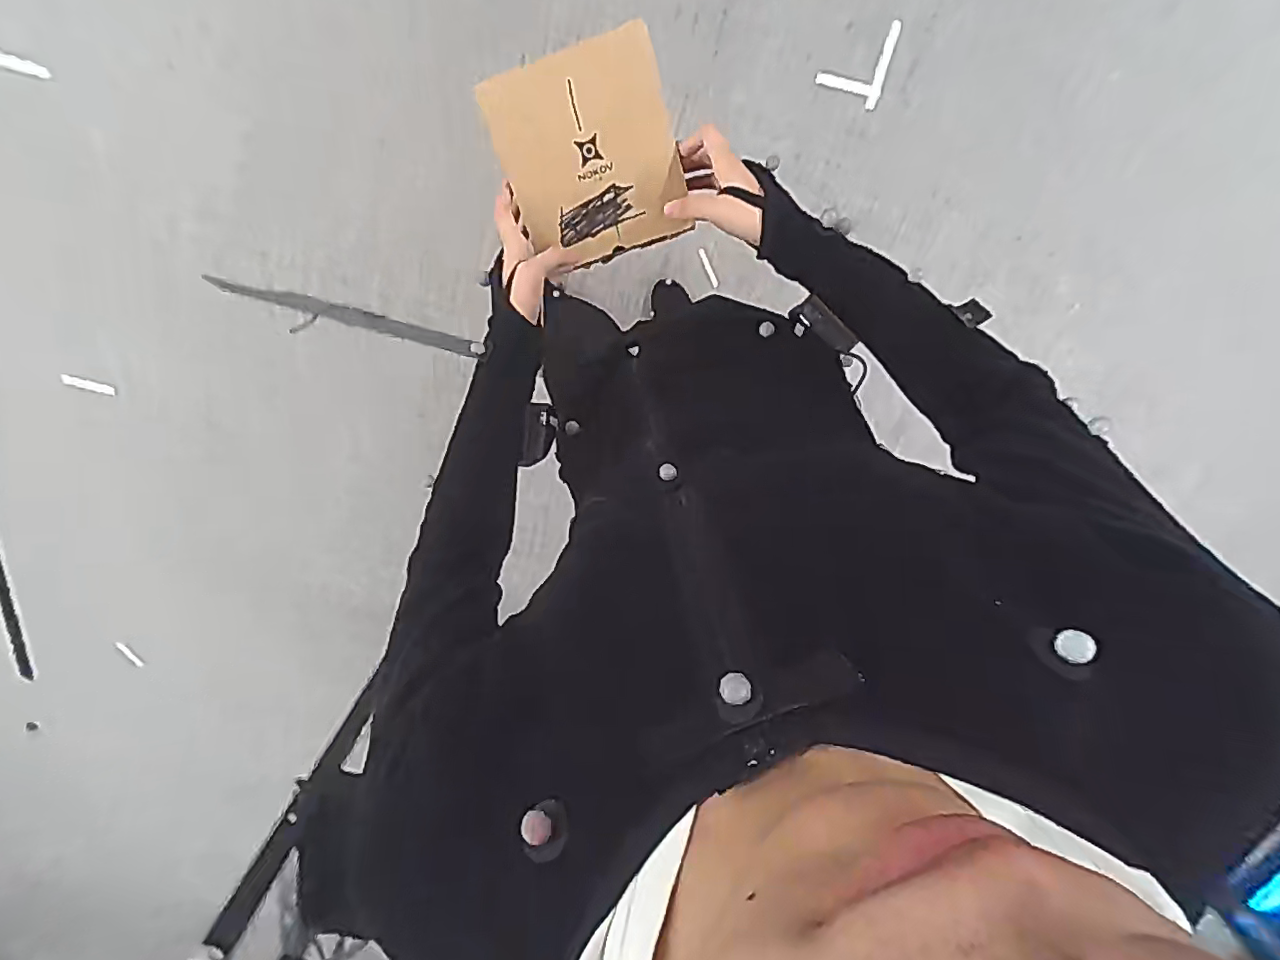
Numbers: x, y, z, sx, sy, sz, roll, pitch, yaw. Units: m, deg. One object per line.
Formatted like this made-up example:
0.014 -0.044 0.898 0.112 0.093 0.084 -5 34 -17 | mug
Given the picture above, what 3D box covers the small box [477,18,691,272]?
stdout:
-0.048 -0.345 0.585 0.168 0.176 0.179 -15 116 7 | small box
